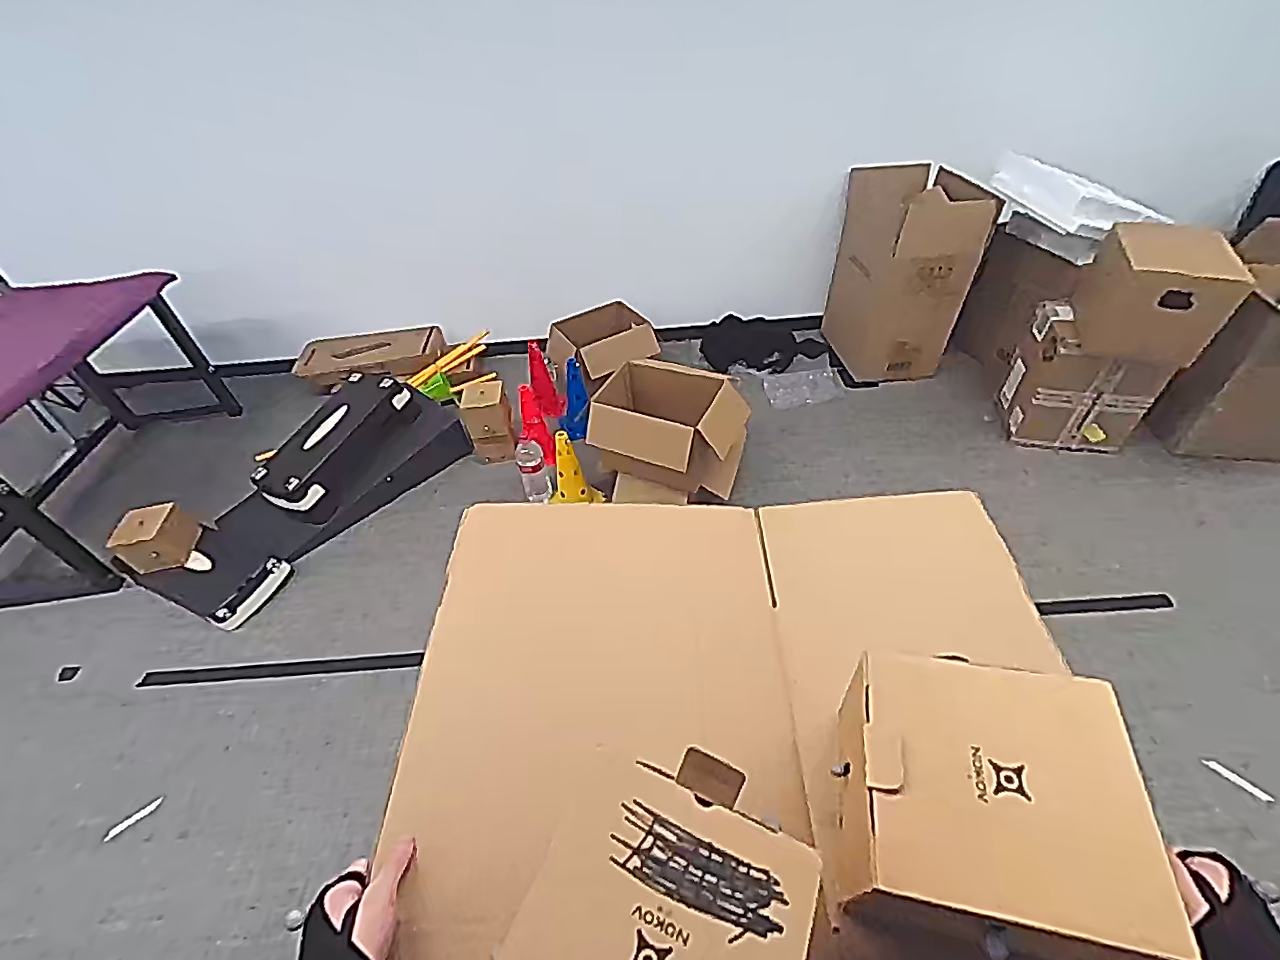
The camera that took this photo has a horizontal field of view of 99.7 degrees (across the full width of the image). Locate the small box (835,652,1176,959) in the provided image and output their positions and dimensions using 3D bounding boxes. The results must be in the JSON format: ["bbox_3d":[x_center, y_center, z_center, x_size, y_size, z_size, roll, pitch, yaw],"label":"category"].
[{"bbox_3d":[0.265,0.265,0.449,0.179,0.176,0.168,4,50,15],"label":"small box"}]
